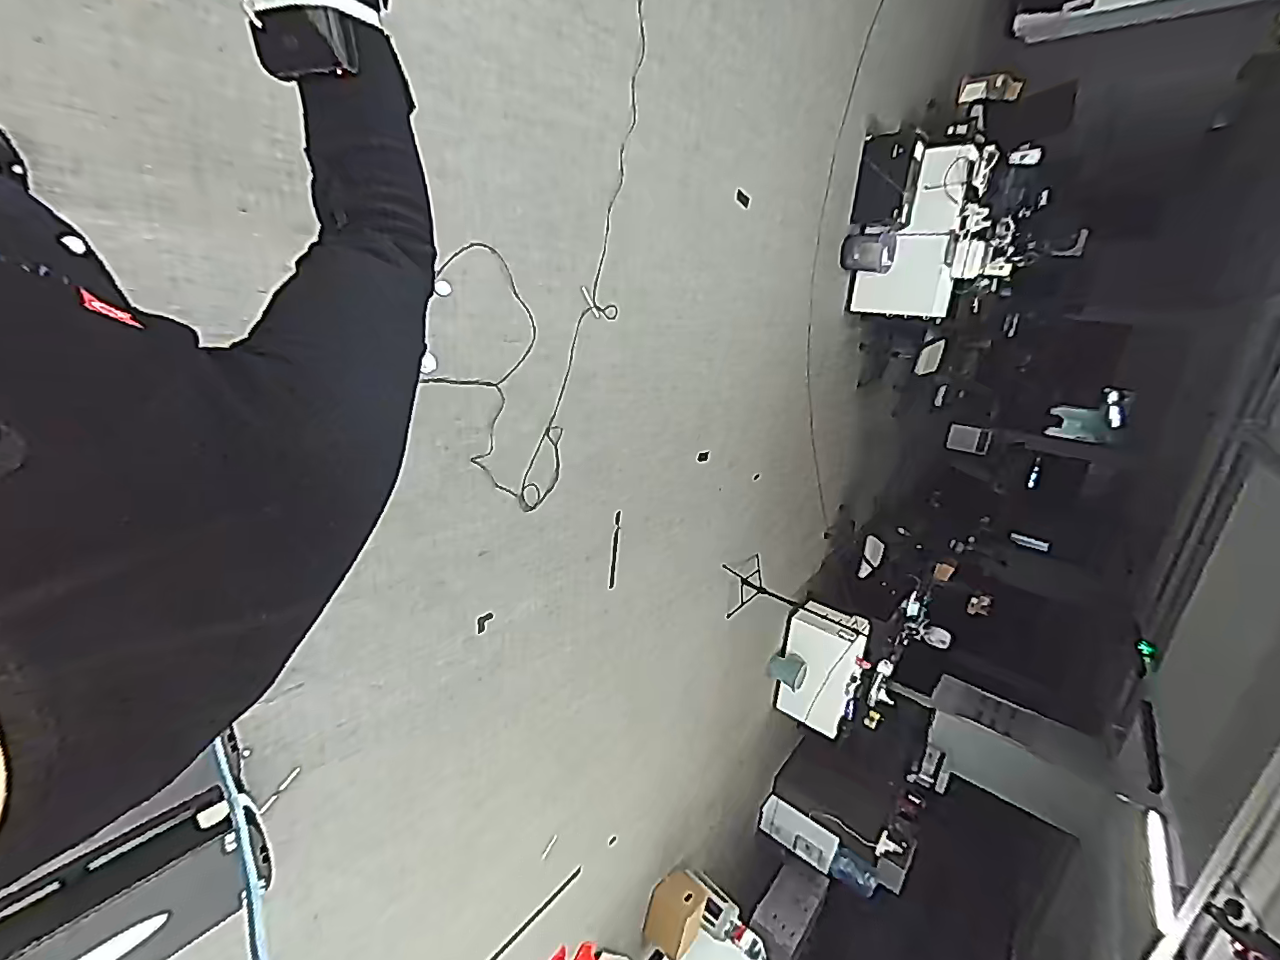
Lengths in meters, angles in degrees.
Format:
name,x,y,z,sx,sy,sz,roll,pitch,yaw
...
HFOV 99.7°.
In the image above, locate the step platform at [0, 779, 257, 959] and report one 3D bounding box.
name,x,y,z,sx,sy,sz,roll,pitch,yaw
step platform,-1.272,1.014,1.205,0.684,0.204,0.286,-20,120,-46
